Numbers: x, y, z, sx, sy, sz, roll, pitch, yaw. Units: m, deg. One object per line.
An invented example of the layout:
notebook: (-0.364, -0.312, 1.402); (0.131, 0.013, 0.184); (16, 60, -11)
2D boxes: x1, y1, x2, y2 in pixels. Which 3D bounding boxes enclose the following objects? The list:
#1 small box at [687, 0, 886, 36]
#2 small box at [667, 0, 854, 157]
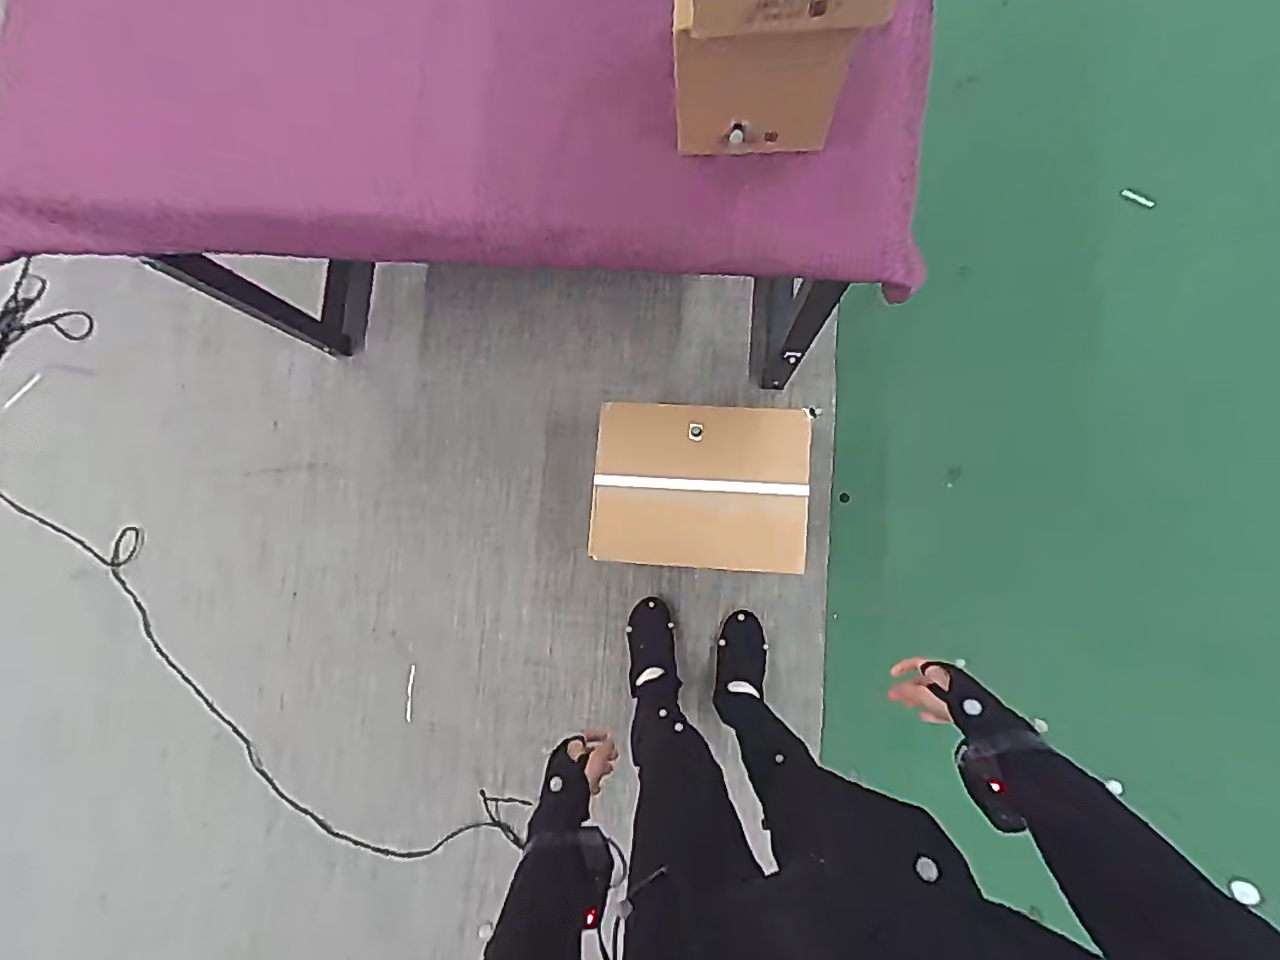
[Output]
small box: (0.115, -0.475, 0.389); (0.168, 0.176, 0.179); (1, 83, 7)
small box: (0.116, -0.470, 0.554); (0.168, 0.176, 0.179); (1, 83, 7)
